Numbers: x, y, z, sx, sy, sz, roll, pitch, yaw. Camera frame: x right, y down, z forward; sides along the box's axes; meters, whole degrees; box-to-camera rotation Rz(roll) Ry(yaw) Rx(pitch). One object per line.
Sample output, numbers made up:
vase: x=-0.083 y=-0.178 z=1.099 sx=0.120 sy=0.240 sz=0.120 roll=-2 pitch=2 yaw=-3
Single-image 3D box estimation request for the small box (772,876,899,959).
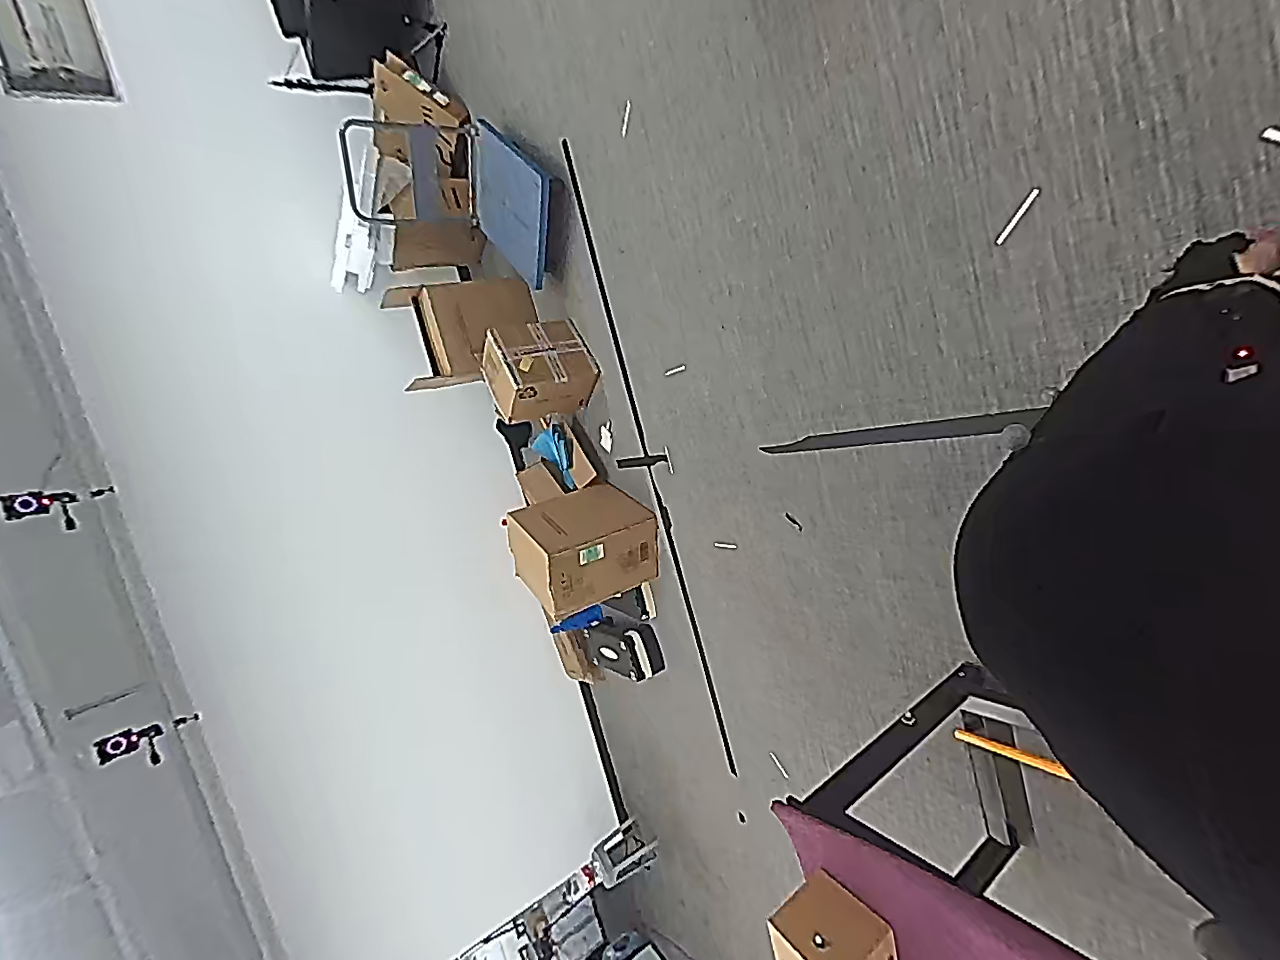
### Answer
small box: x=0.397 y=0.949 z=1.075 sx=0.179 sy=0.176 sz=0.168 roll=6 pitch=113 yaw=59
